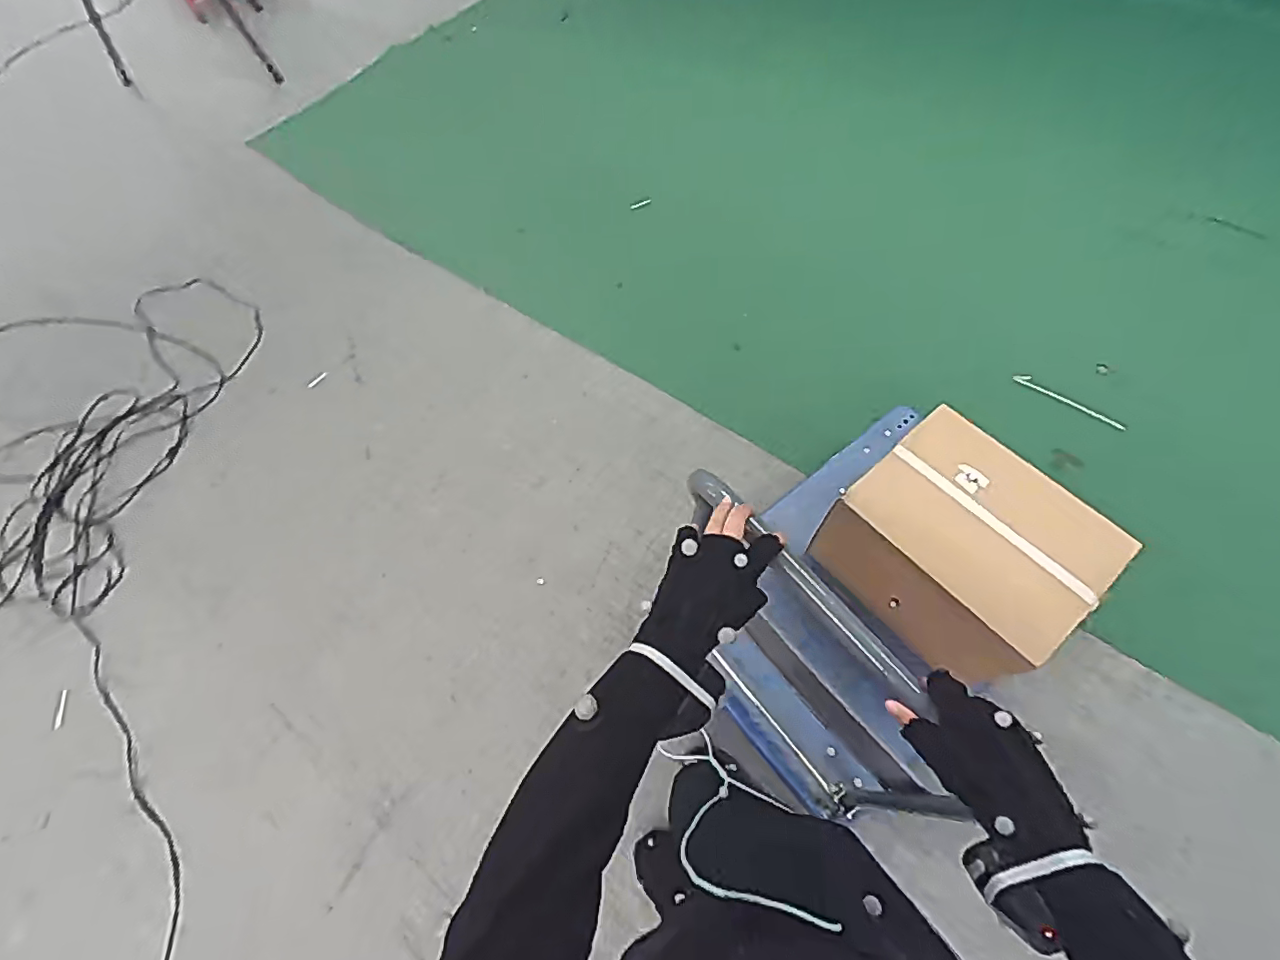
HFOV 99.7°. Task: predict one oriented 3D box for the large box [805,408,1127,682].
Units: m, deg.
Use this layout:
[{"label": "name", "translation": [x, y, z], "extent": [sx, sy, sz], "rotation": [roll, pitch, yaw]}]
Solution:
[{"label": "large box", "translation": [0.612, 0.140, 1.102], "extent": [0.320, 0.320, 0.408], "rotation": [-38, 66, -14]}]
